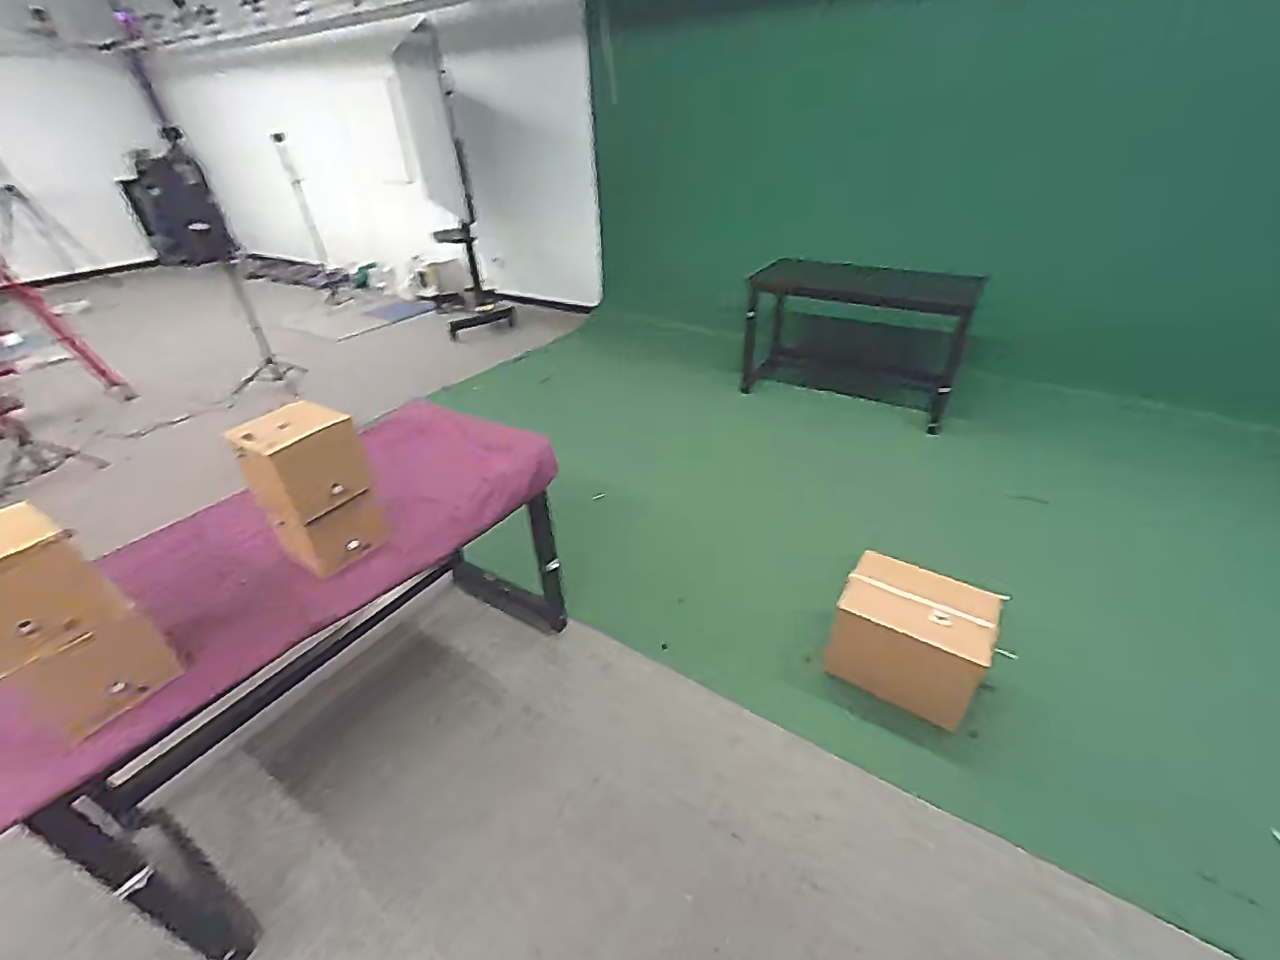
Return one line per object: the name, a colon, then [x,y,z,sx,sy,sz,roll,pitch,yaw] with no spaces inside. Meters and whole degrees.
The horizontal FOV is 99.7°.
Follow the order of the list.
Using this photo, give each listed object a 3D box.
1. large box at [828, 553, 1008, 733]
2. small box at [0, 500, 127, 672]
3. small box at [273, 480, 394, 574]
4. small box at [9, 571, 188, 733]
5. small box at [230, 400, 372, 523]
large box: [0.856,0.495,1.695,0.408,0.320,0.320,20,40,30]
small box: [-0.950,0.159,0.824,0.179,0.176,0.168,16,37,29]
small box: [-0.695,0.084,1.222,0.179,0.176,0.168,20,40,29]
small box: [-0.929,0.289,0.919,0.179,0.176,0.168,17,38,28]
small box: [-0.683,-0.042,1.114,0.168,0.176,0.179,17,38,27]
